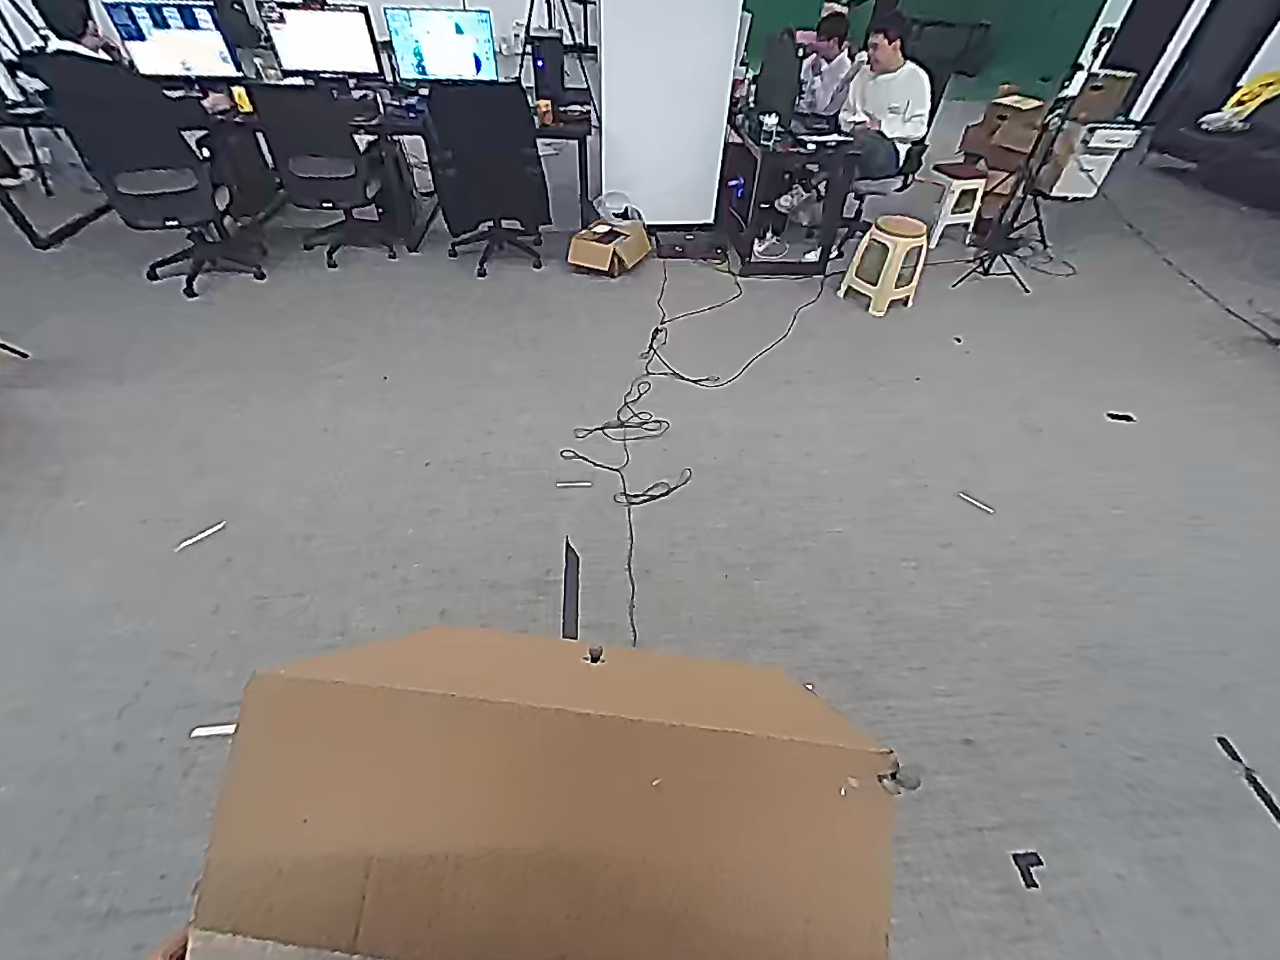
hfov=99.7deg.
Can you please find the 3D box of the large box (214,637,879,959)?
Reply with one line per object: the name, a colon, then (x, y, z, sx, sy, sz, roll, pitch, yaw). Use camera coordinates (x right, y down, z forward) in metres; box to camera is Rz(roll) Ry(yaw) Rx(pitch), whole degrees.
large box: (-0.059, 0.325, 0.469, 0.408, 0.320, 0.320, 6, 82, 3)
